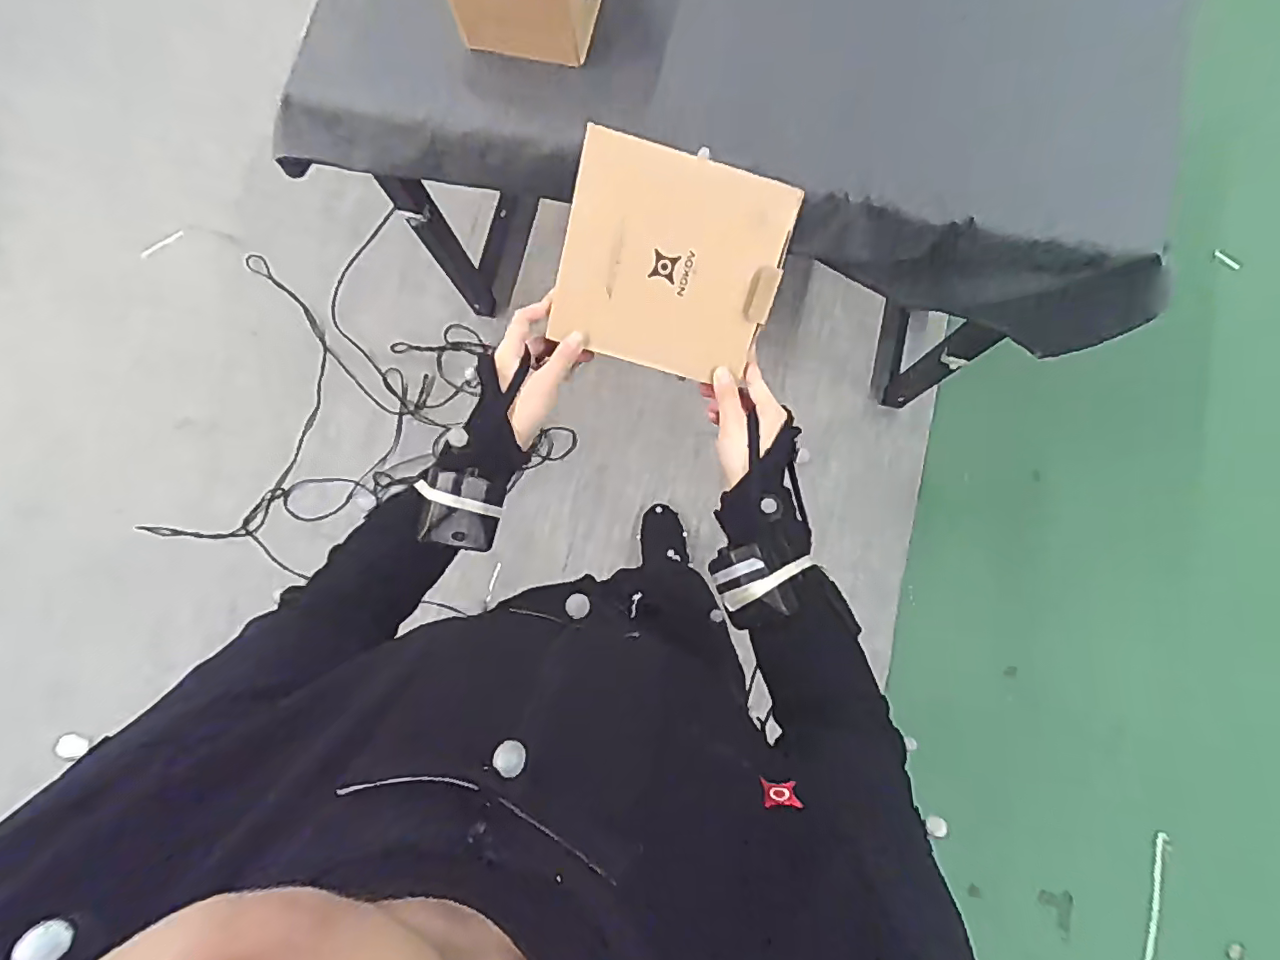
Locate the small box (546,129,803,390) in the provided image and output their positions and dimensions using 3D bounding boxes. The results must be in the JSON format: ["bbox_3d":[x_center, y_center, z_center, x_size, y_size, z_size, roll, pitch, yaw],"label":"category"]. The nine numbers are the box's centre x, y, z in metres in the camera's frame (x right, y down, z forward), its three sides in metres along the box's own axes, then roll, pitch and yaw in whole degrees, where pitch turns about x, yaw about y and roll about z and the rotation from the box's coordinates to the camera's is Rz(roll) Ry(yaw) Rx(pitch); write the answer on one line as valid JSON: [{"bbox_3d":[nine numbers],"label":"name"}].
[{"bbox_3d":[0.026,-0.199,0.514,0.179,0.176,0.168,14,109,-3],"label":"small box"}]

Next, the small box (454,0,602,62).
[{"bbox_3d":[-0.151,-0.694,0.703,0.179,0.176,0.168,12,81,4],"label":"small box"}]
